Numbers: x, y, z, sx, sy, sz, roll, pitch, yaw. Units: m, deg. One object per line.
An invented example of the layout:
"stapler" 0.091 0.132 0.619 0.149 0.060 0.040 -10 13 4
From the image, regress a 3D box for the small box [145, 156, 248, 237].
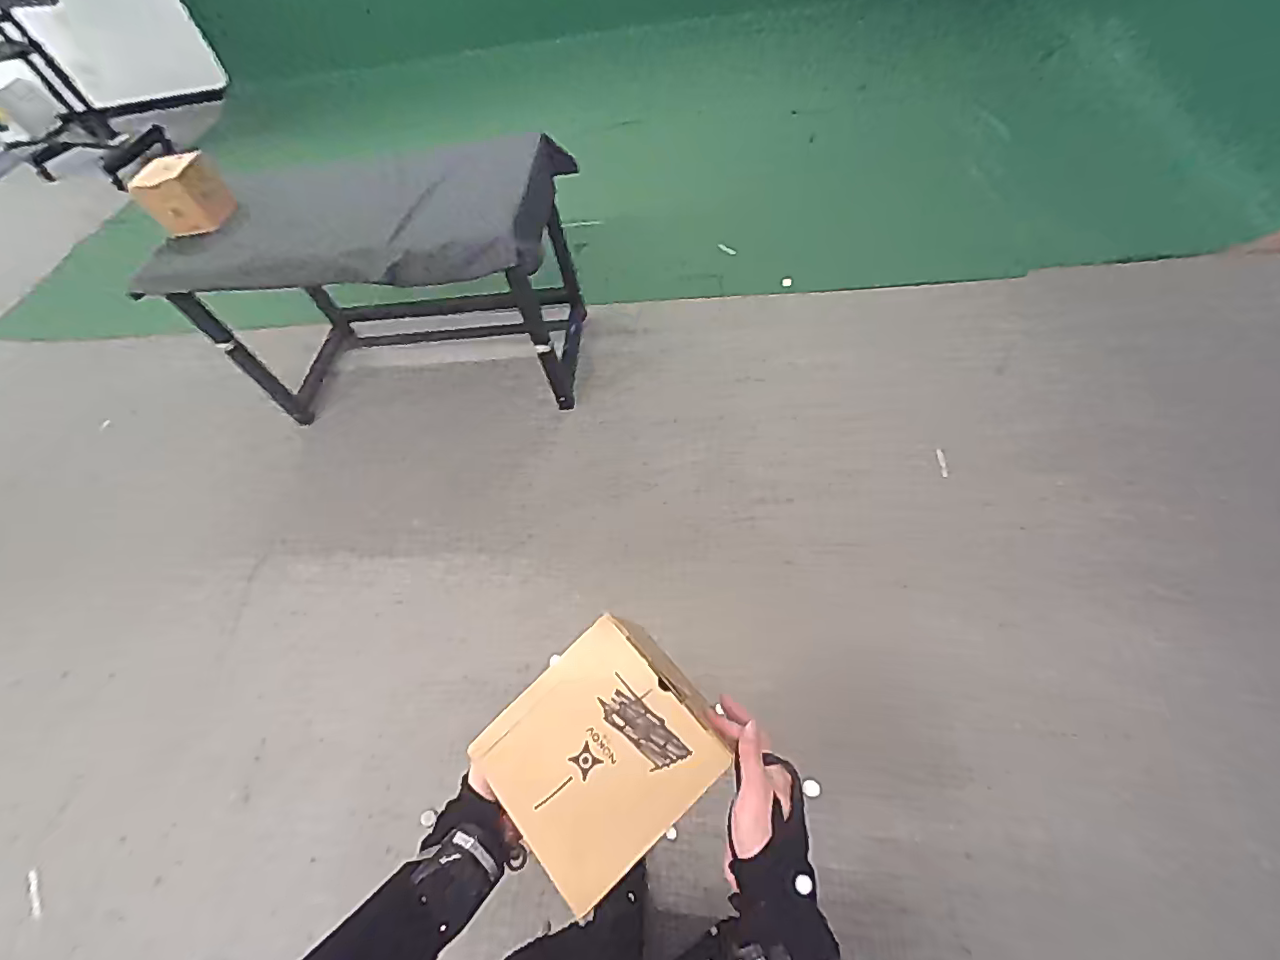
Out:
"small box" -1.429 -0.913 1.758 0.168 0.176 0.179 -5 56 7
